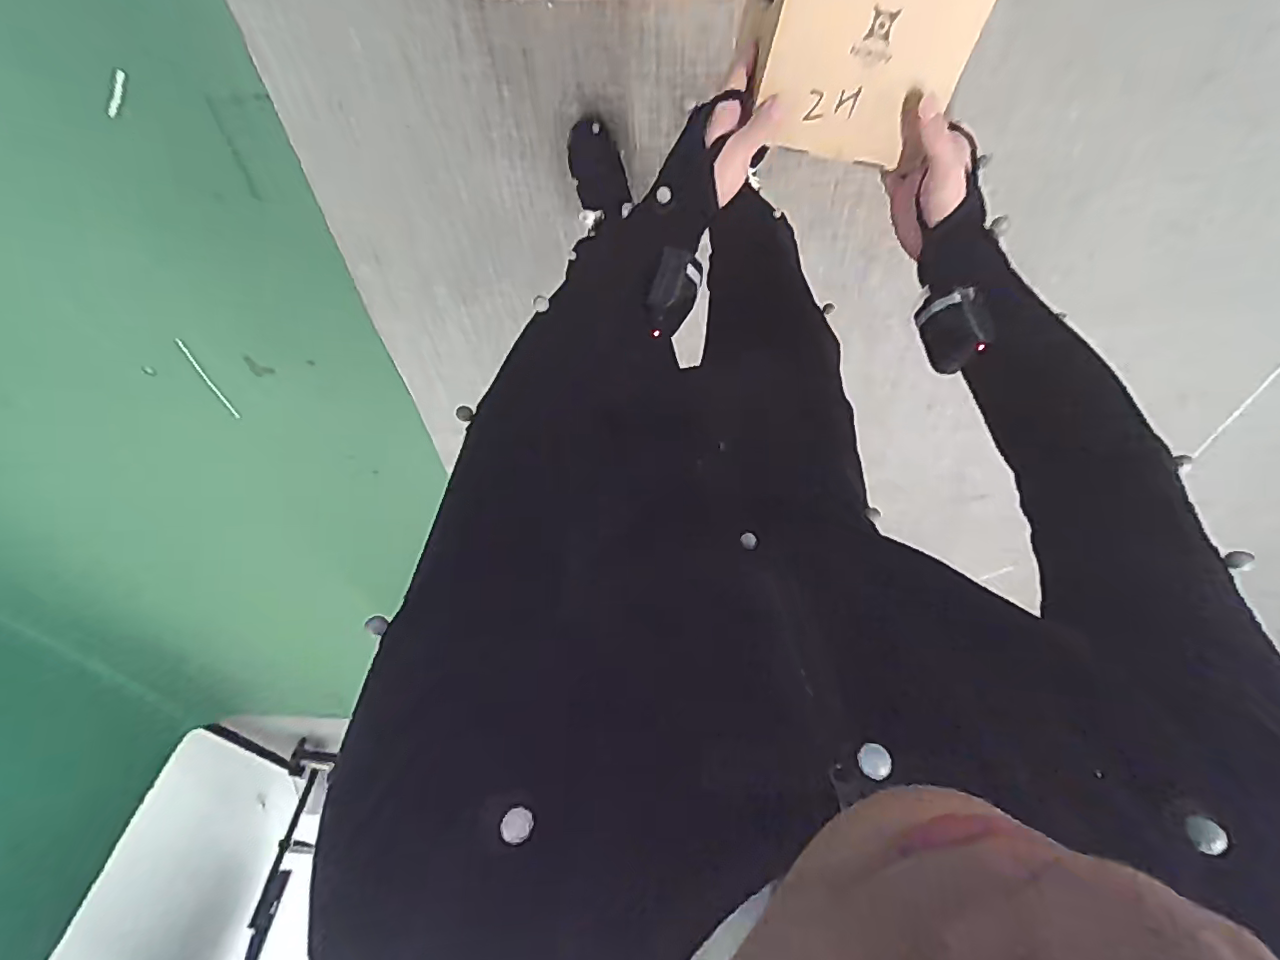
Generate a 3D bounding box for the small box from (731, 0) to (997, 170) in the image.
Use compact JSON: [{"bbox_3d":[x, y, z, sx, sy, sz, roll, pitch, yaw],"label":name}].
[{"bbox_3d":[0.189,-0.414,0.490,0.168,0.176,0.179,6,134,-8],"label":"small box"}]
